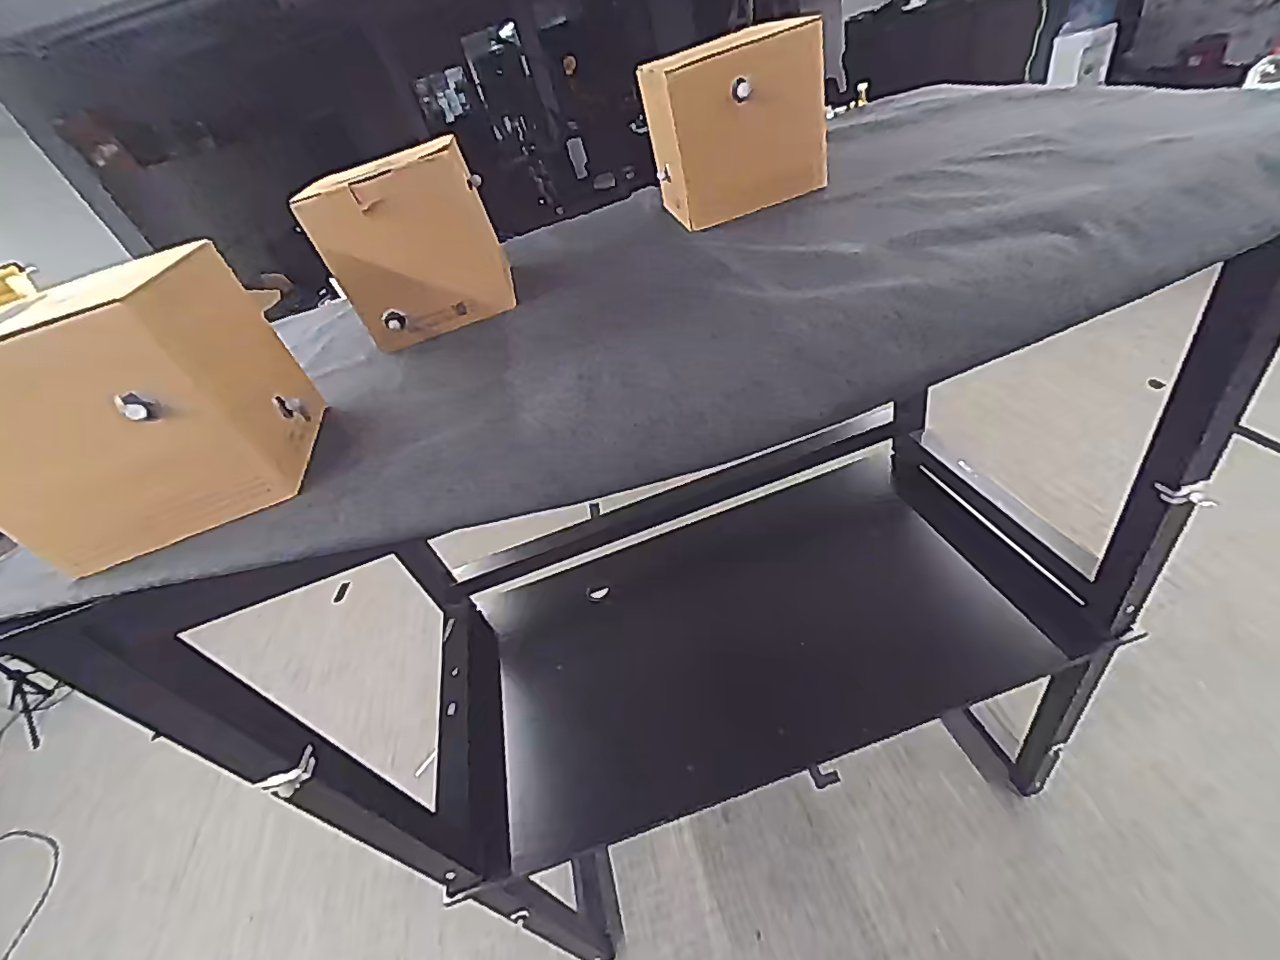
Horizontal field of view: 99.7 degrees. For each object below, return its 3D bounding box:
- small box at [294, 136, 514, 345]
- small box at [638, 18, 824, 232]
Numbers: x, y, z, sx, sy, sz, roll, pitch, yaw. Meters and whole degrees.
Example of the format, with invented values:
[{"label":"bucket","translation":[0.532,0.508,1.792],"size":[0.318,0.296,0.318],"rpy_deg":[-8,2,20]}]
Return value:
[{"label":"small box","translation":[-0.259,-0.279,0.640],"size":[0.168,0.176,0.179],"rpy_deg":[-20,38,-1]},{"label":"small box","translation":[0.113,-0.436,0.670],"size":[0.179,0.176,0.168],"rpy_deg":[-19,39,2]}]
